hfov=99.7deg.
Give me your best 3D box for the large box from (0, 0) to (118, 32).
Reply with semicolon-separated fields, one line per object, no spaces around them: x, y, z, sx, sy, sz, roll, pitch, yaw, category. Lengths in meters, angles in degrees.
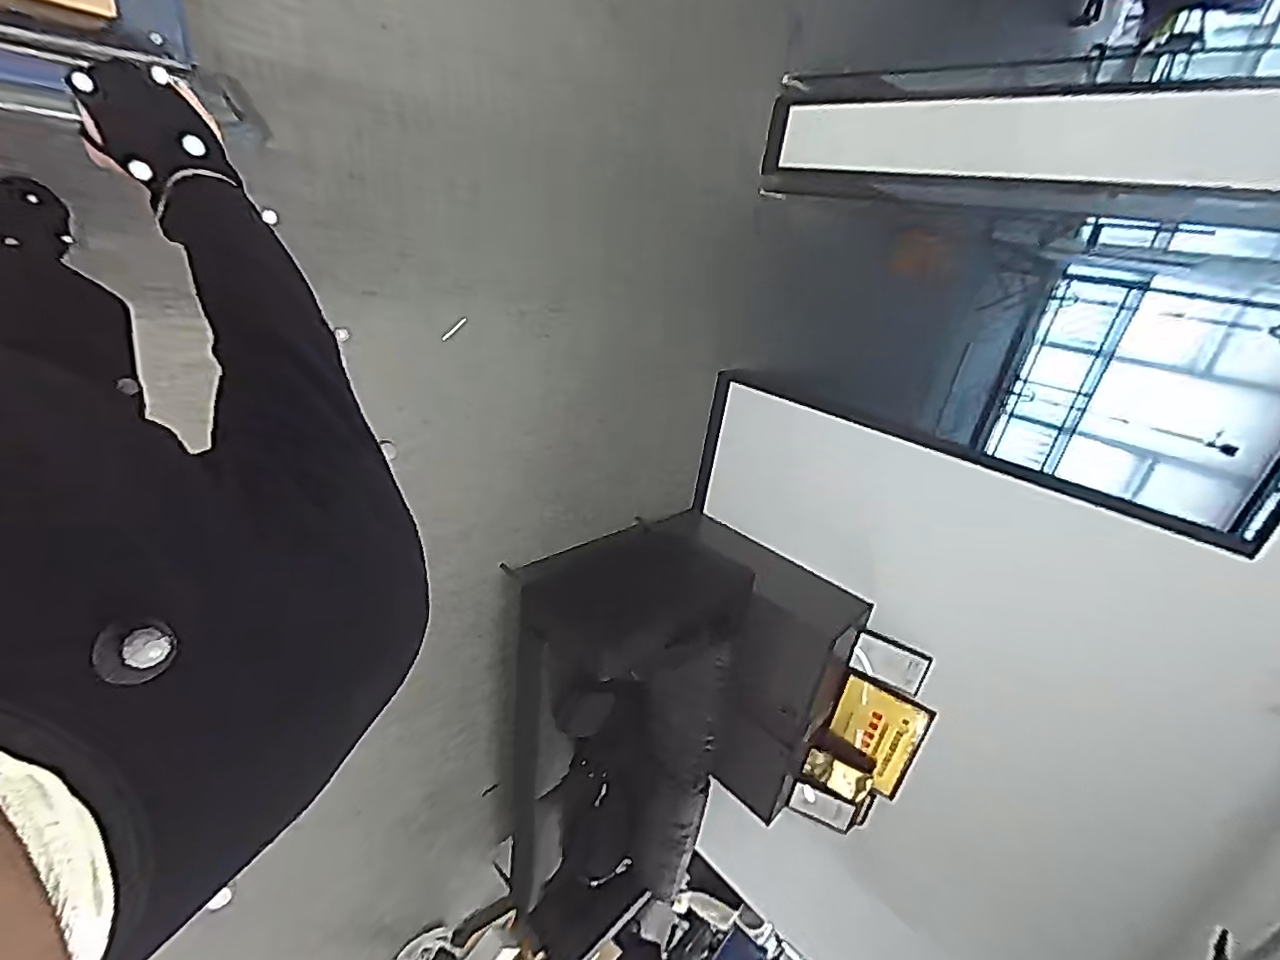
-0.869;-0.815;0.613;0.320;0.320;0.408;-17;126;-42;large box
